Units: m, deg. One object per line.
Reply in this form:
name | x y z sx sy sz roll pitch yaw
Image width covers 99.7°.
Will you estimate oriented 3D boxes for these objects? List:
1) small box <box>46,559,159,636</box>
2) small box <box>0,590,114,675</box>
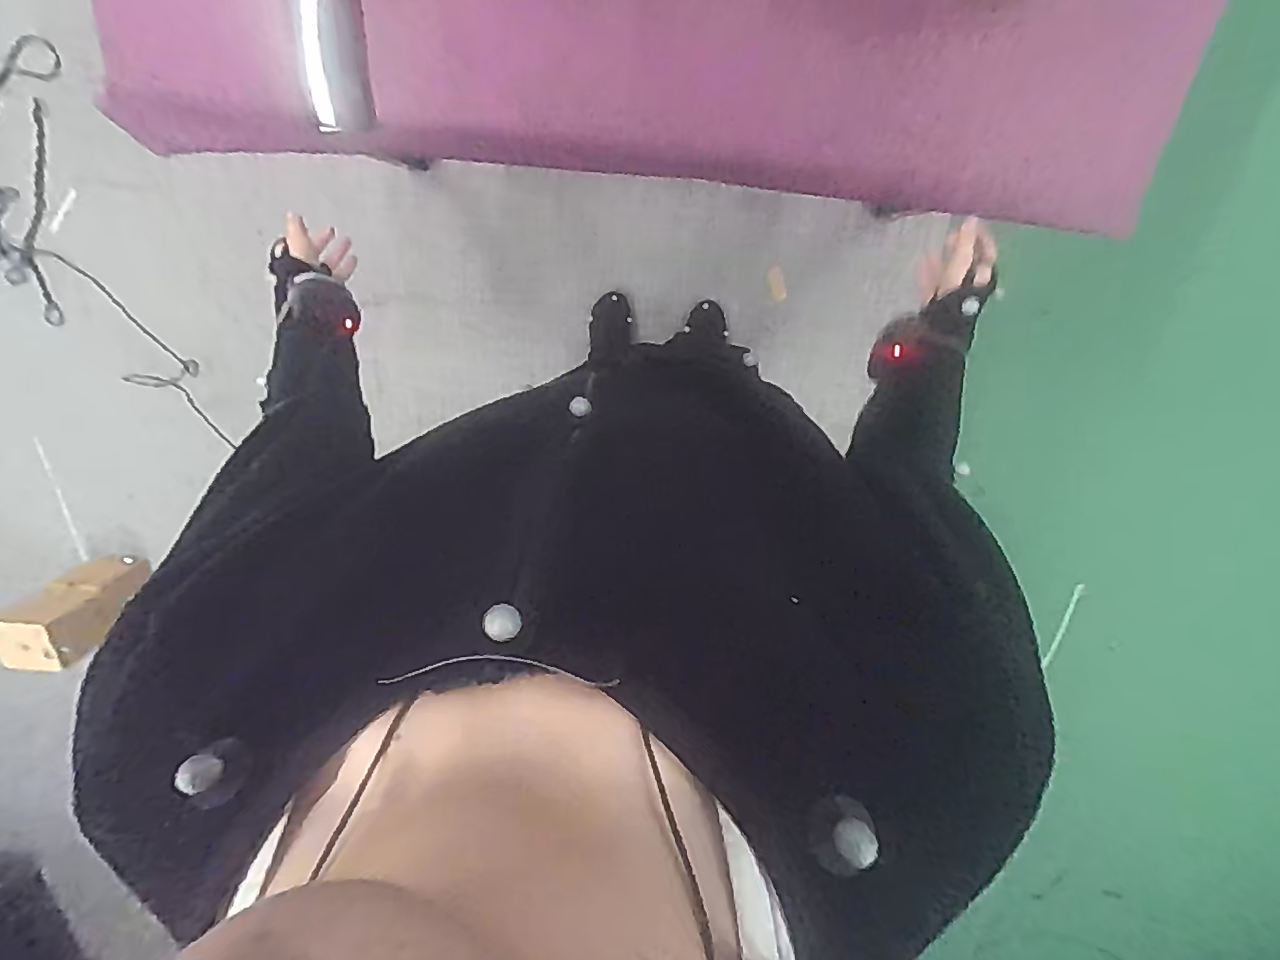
small box | -1.704 0.370 1.726 0.168 0.176 0.179 4 113 2
small box | -1.712 0.438 1.577 0.179 0.176 0.168 6 113 2
